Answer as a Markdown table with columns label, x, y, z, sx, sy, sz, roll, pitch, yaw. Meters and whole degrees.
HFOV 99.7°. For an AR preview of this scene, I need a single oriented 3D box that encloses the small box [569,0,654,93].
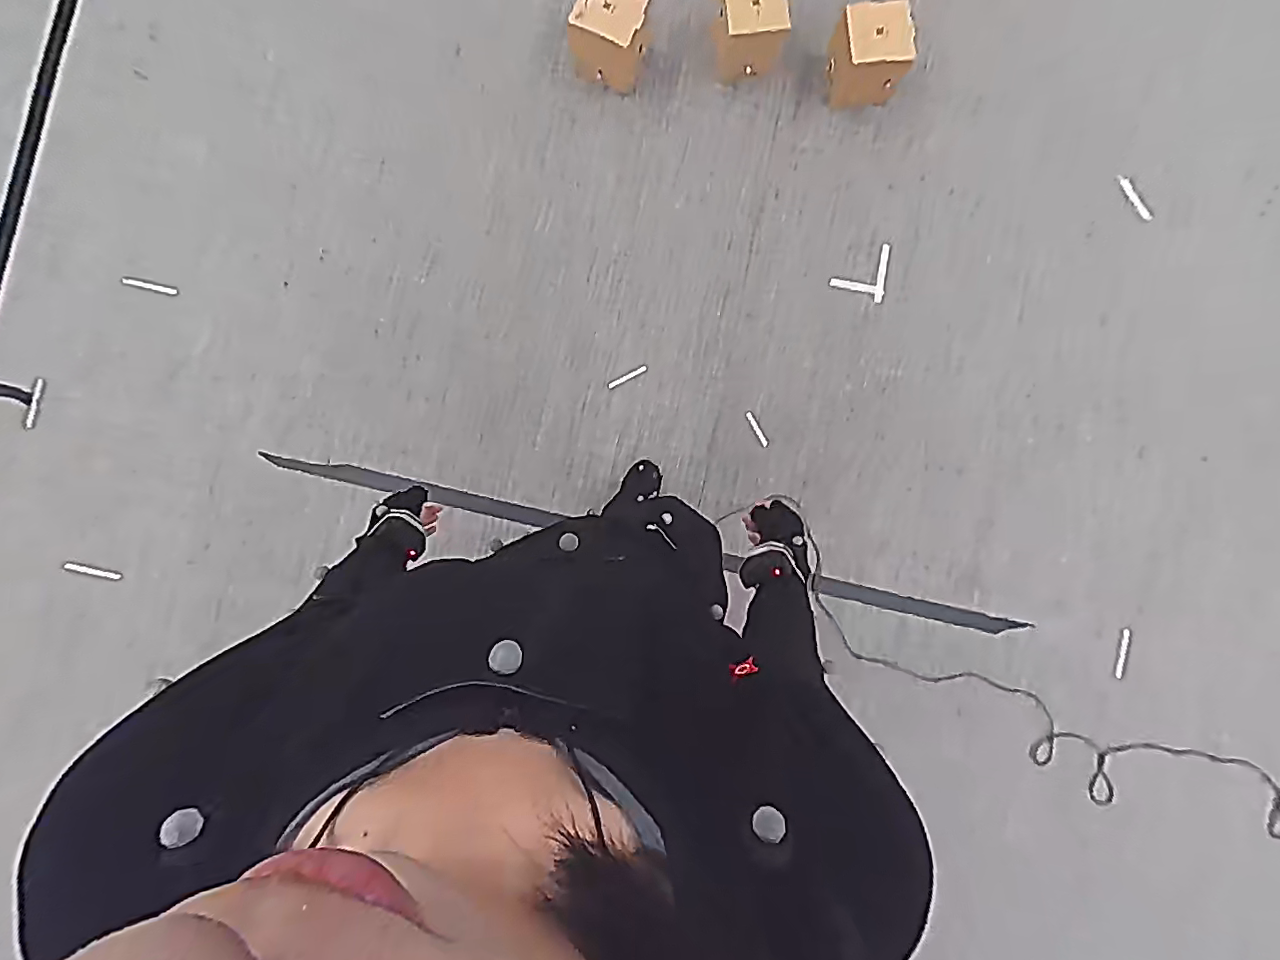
| label | x | y | z | sx | sy | sz | roll | pitch | yaw |
| --- | --- | --- | --- | --- | --- | --- | --- | --- | --- |
| small box | -0.077 | -1.222 | 1.491 | 0.179 | 0.176 | 0.168 | 25 | 87 | 0 |

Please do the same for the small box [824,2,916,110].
| label | x | y | z | sx | sy | sz | roll | pitch | yaw |
| --- | --- | --- | --- | --- | --- | --- | --- | --- | --- |
| small box | 0.634 | -1.171 | 1.504 | 0.179 | 0.176 | 0.168 | -6 | 87 | -1 |

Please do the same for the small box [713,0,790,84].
| label | x | y | z | sx | sy | sz | roll | pitch | yaw |
| --- | --- | --- | --- | --- | --- | --- | --- | --- | --- |
| small box | 0.303 | -1.250 | 1.498 | 0.168 | 0.176 | 0.179 | -7 | 88 | -1 |
